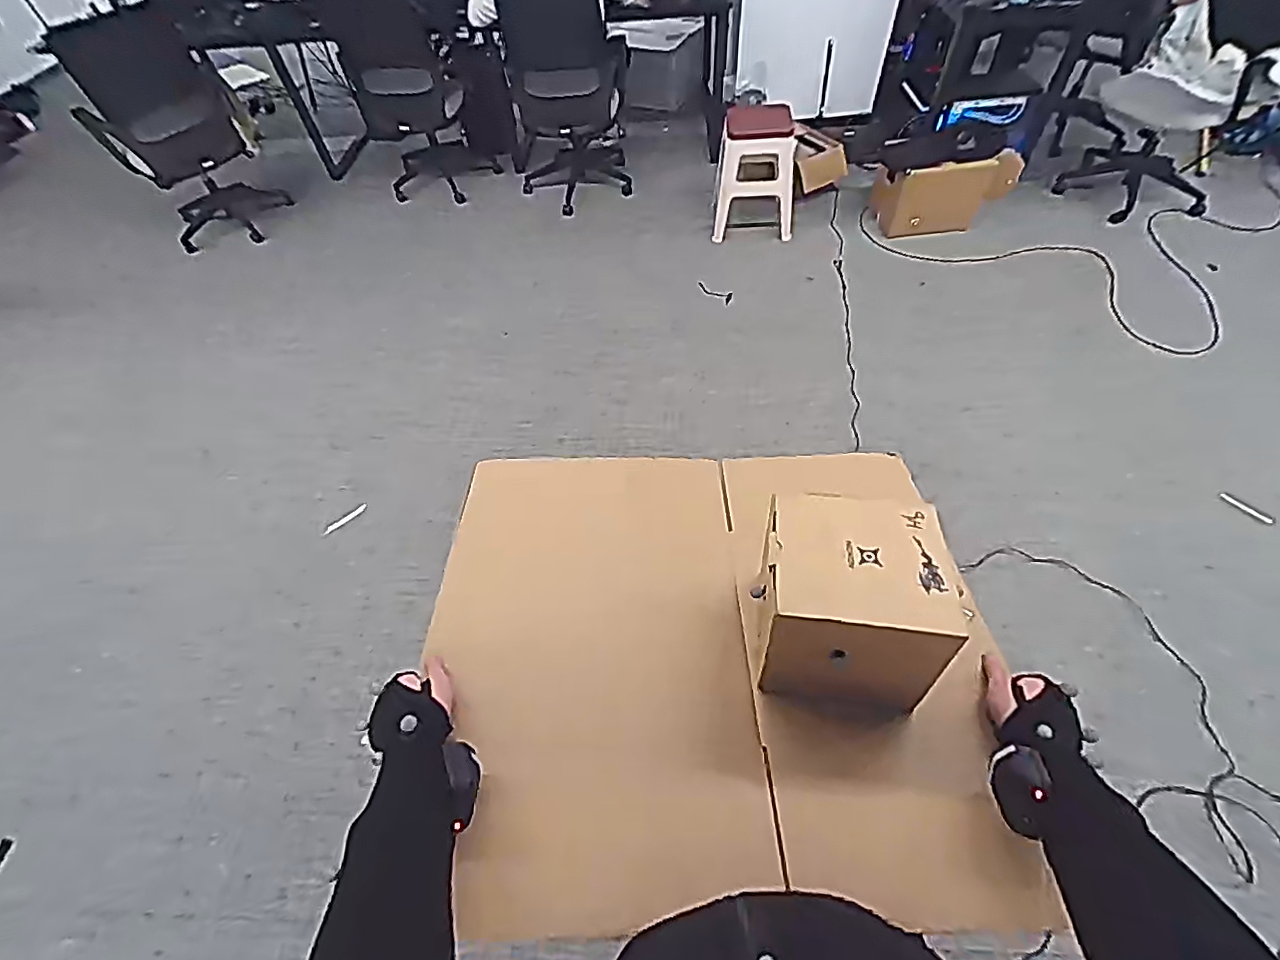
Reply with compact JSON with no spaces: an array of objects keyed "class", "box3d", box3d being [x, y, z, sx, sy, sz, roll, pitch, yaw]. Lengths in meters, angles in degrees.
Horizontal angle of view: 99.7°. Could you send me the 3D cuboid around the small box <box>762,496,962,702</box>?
[{"class":"small box","box3d":[0.235,0.138,0.625,0.179,0.176,0.168,4,47,10]}]
